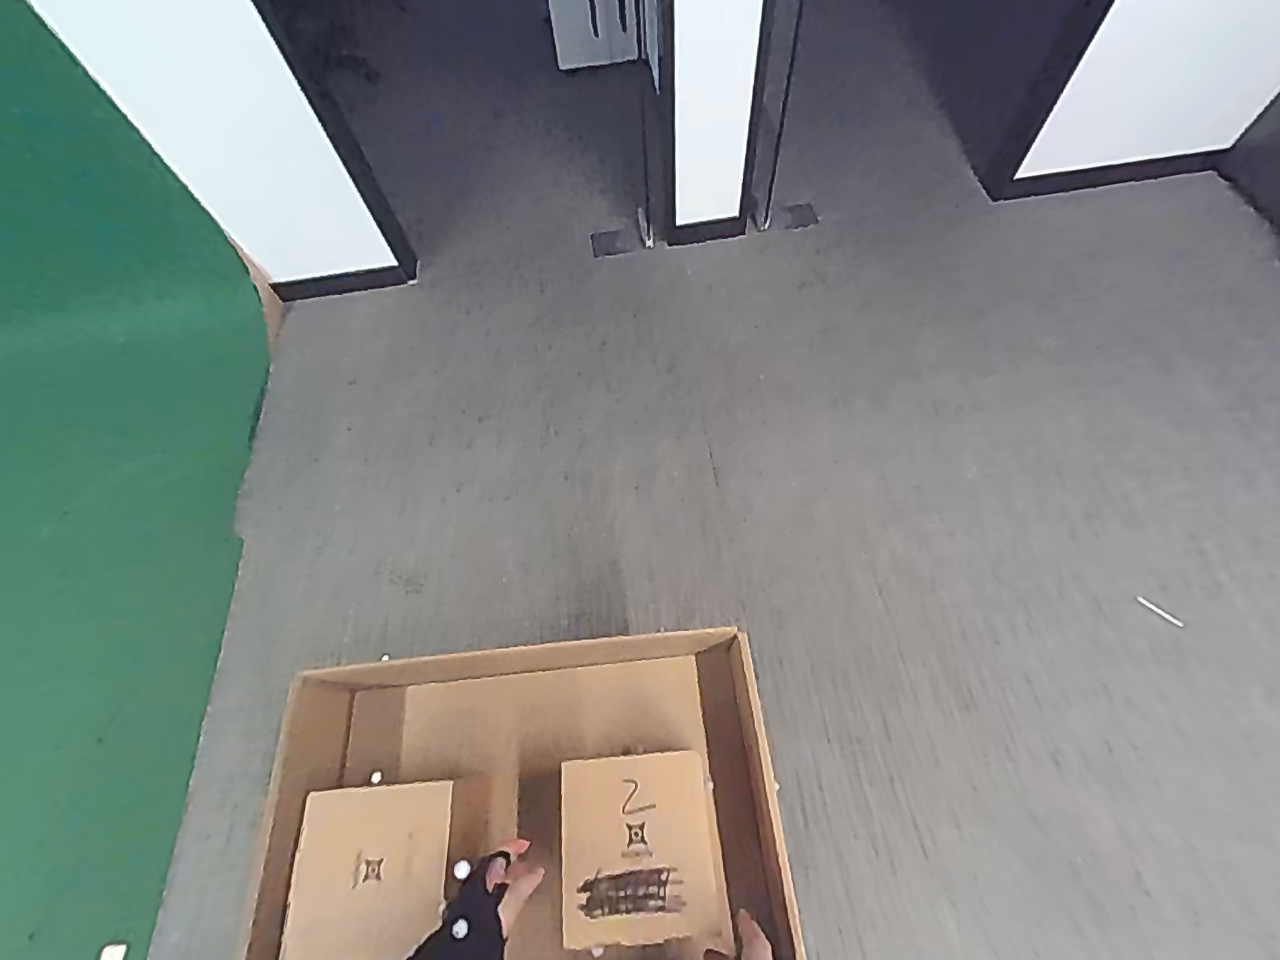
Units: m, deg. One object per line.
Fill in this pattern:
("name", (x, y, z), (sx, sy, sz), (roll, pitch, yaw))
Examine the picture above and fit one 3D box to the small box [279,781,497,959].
("small box", (-0.291, 0.471, 0.667), (0.179, 0.176, 0.168), (-5, 62, 1))
